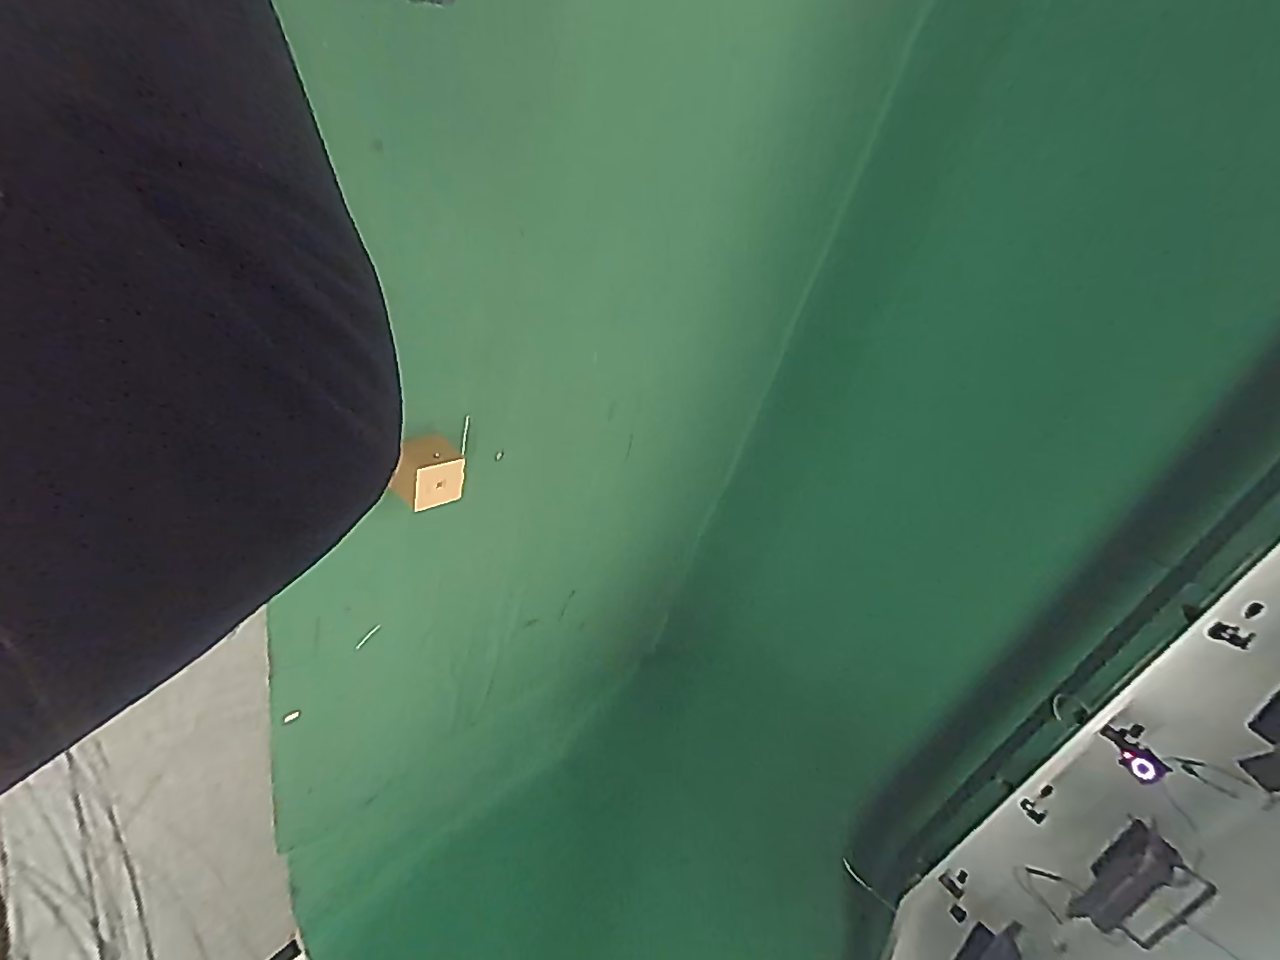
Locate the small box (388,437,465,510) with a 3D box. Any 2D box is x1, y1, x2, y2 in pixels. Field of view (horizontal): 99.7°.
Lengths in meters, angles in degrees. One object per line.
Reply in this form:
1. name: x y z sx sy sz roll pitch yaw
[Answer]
1. small box: -0.712 -0.029 1.799 0.179 0.176 0.168 -20 135 -47
